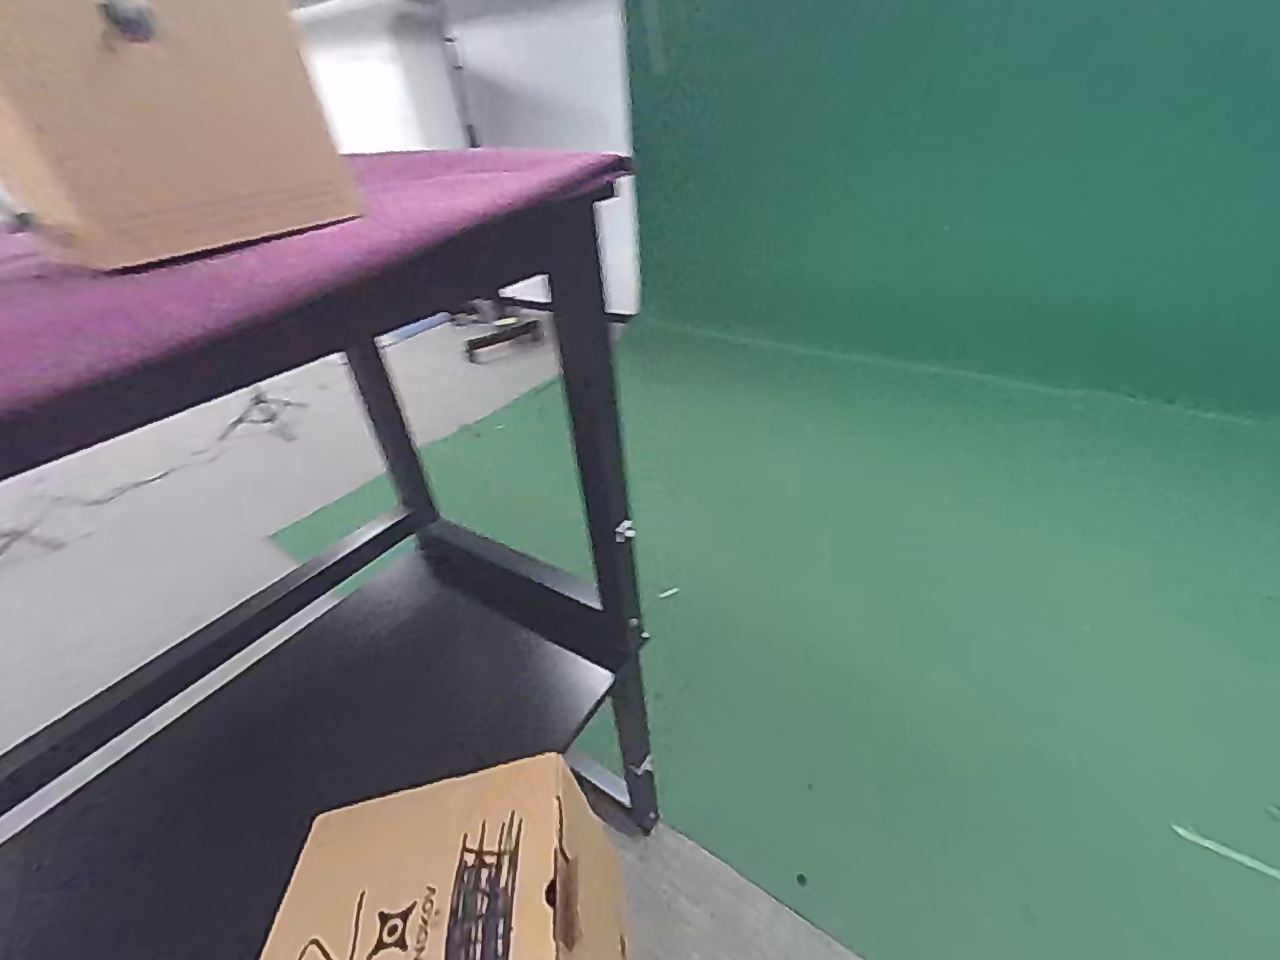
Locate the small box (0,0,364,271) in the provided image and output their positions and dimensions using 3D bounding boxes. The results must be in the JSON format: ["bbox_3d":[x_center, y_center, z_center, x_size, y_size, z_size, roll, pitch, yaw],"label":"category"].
[{"bbox_3d":[-0.346,-0.259,0.397,0.168,0.176,0.179,17,39,31],"label":"small box"}]
